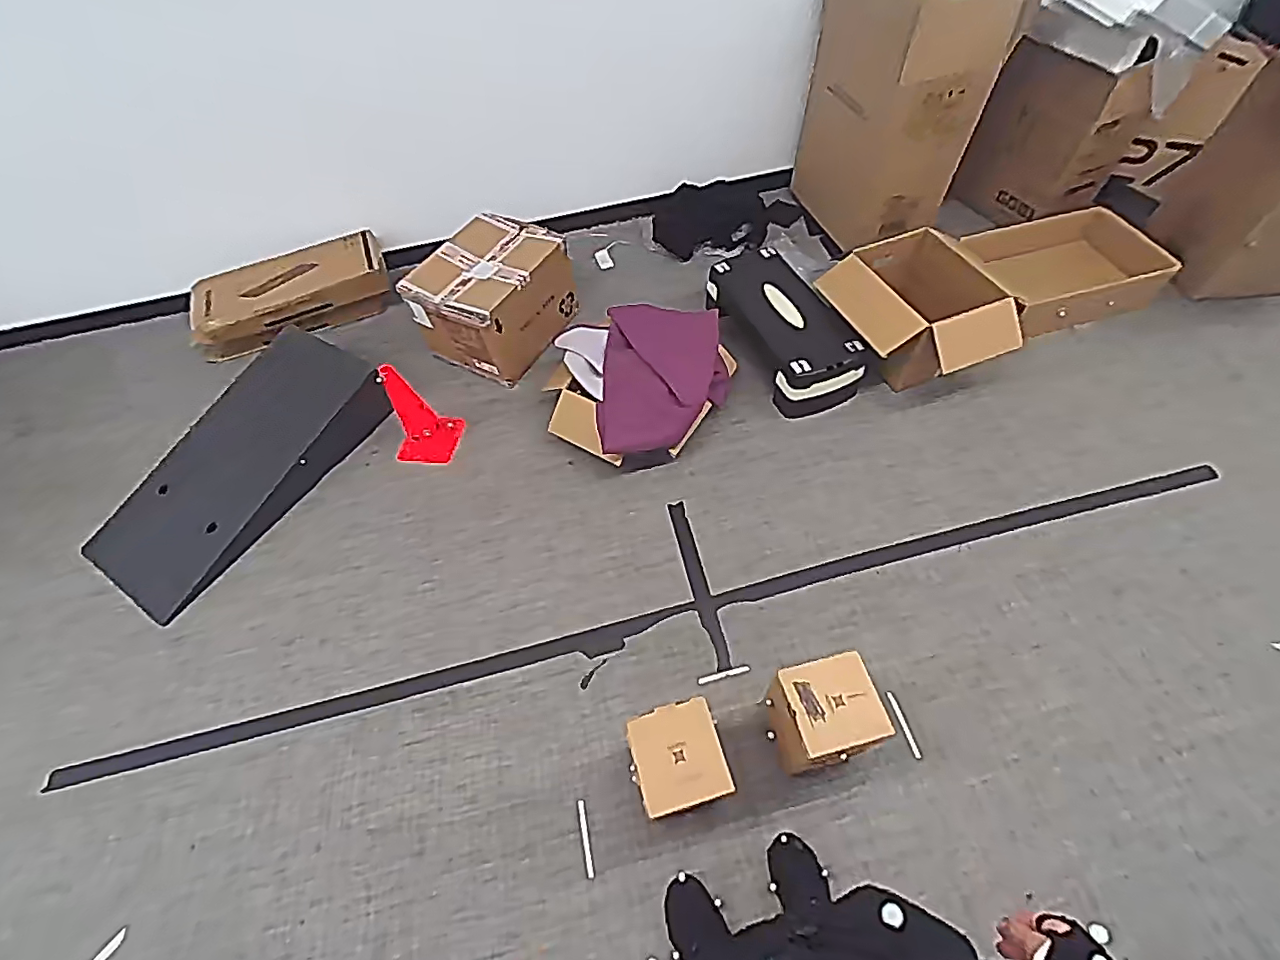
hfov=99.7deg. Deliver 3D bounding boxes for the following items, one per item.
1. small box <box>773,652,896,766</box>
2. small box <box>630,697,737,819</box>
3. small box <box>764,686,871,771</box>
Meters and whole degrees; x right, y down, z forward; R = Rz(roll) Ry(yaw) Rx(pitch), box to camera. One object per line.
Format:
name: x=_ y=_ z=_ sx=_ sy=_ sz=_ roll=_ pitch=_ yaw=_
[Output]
small box: x=0.386 y=0.478 z=1.117 sx=0.179 sy=0.176 sz=0.168 roll=-13 pitch=57 yaw=-5
small box: x=0.084 y=0.563 z=1.089 sx=0.168 sy=0.176 sz=0.179 roll=-17 pitch=59 yaw=-4
small box: x=0.402 y=0.566 z=1.256 sx=0.168 sy=0.176 sz=0.179 roll=-11 pitch=58 yaw=-4
